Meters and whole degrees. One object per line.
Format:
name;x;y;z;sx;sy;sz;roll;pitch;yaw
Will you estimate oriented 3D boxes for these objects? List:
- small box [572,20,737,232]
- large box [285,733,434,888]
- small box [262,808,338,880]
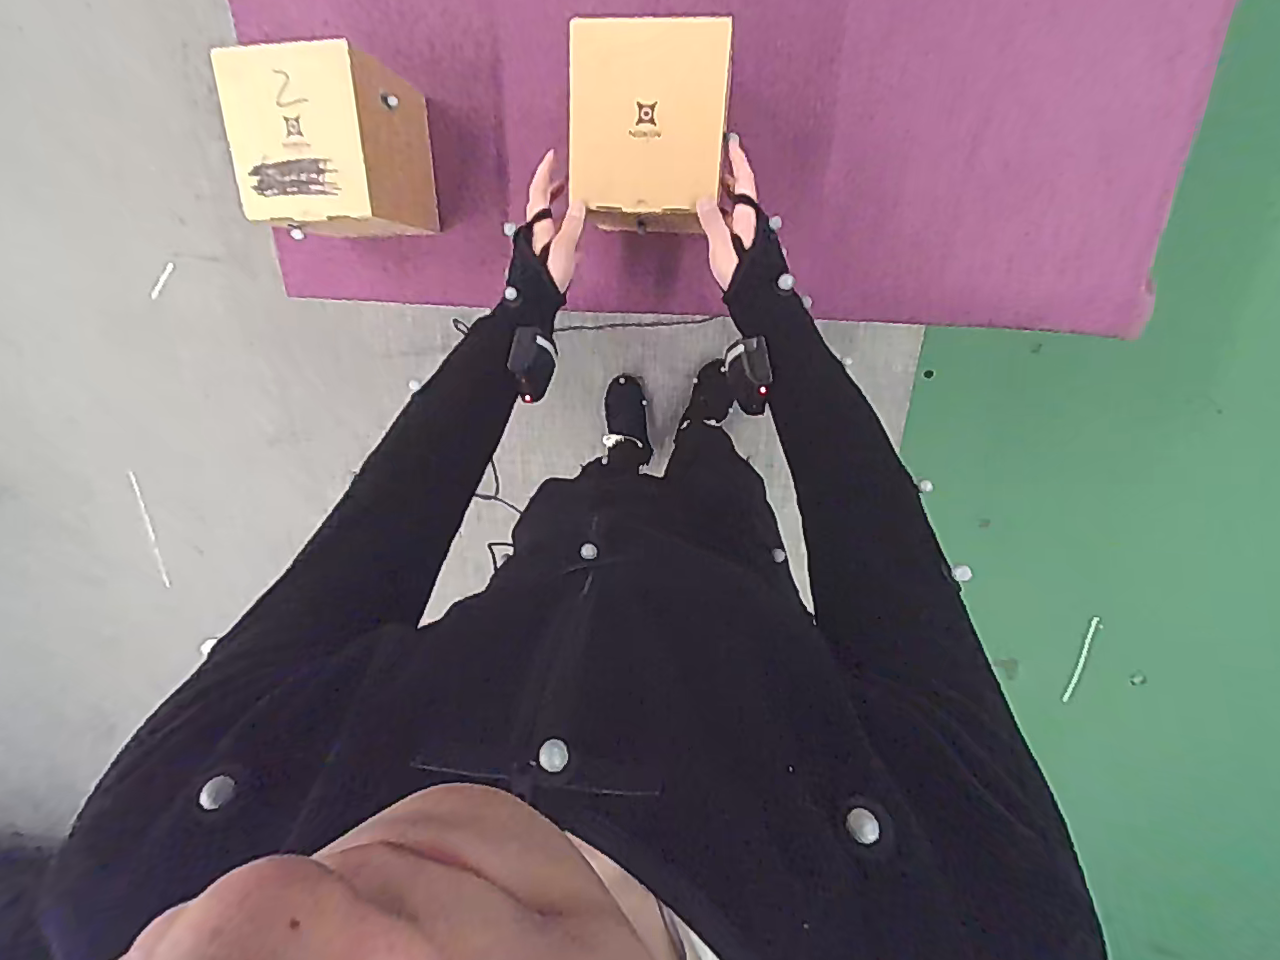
small box;0.018;-0.402;0.642;0.168;0.176;0.179;5;110;5
large box;-1.090;1.272;2.103;0.408;0.320;0.320;26;112;-4
small box;-1.180;1.282;1.856;0.168;0.176;0.179;32;109;-6
